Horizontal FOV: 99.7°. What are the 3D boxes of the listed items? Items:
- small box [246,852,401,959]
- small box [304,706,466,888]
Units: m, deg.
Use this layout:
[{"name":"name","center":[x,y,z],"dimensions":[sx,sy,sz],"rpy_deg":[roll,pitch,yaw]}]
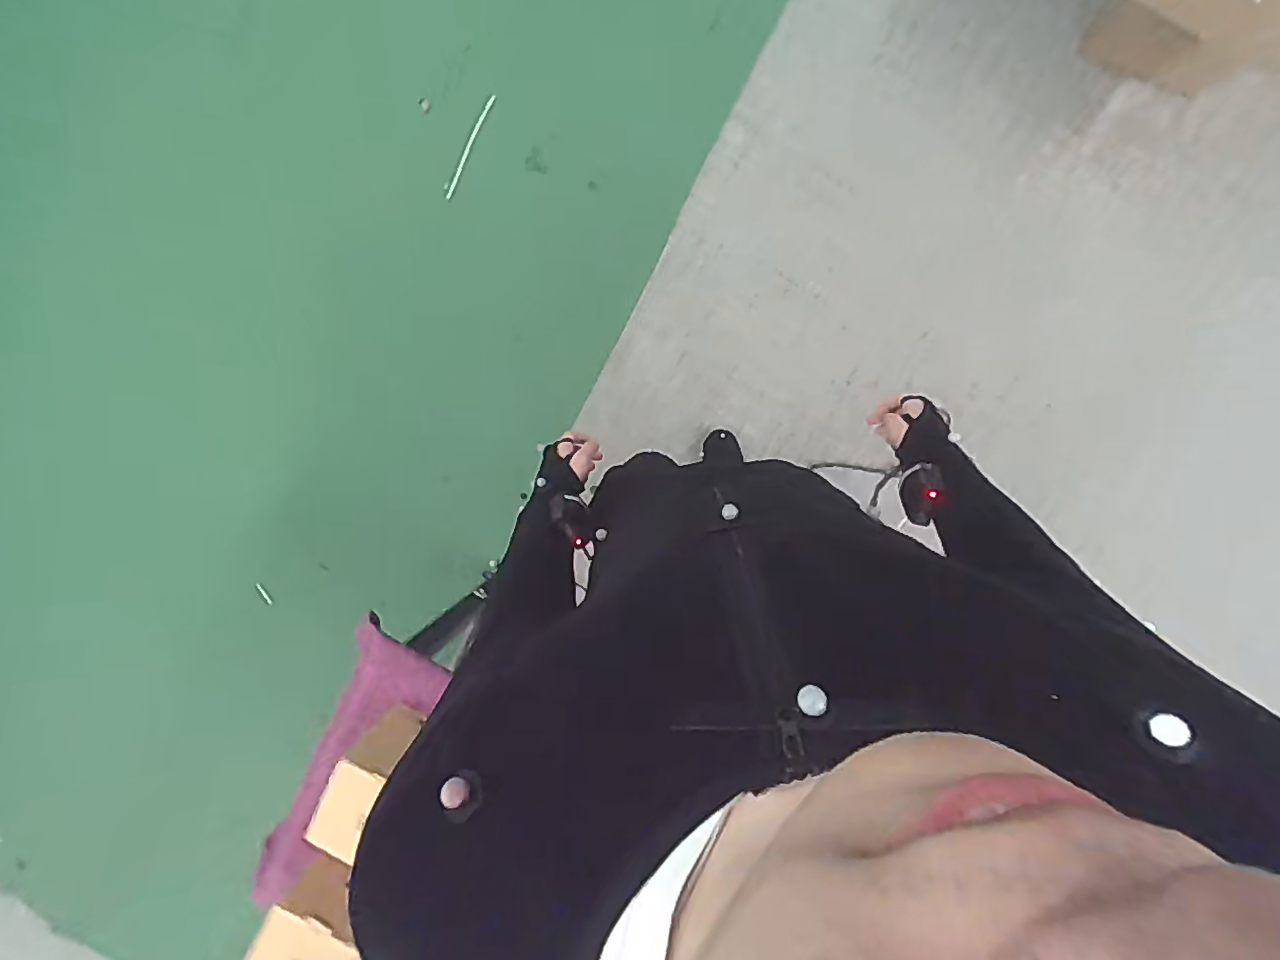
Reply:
[{"name":"small box","center":[-0.573,0.816,0.992],"dimensions":[0.168,0.176,0.179],"rpy_deg":[29,96,3]},{"name":"small box","center":[-0.431,0.538,0.941],"dimensions":[0.168,0.176,0.179],"rpy_deg":[28,100,1]}]
